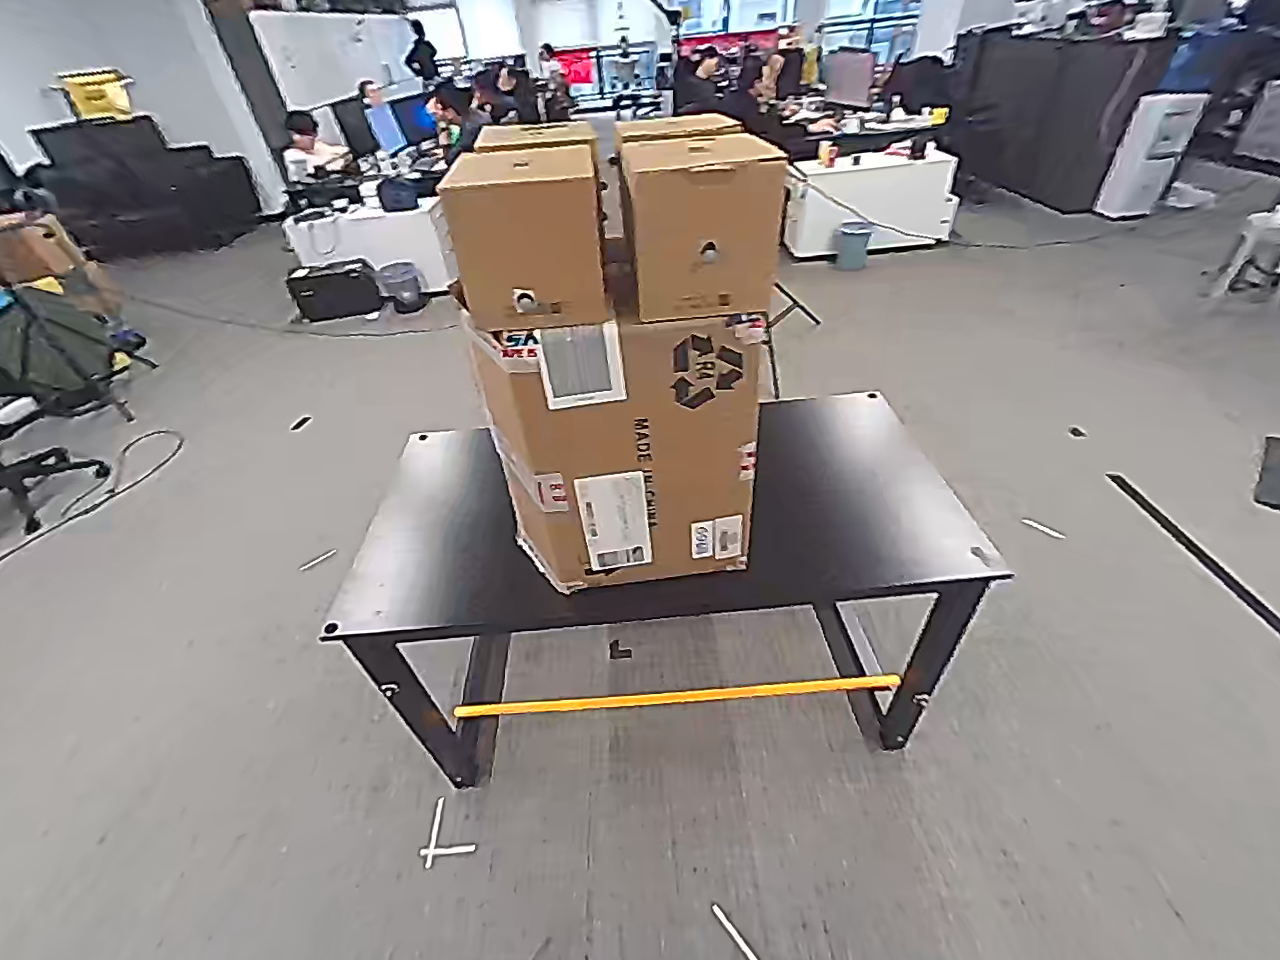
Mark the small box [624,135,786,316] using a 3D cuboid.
[{"bbox_3d":[0.072,-0.316,0.680,0.168,0.176,0.179,-5,41,-3],"label":"small box"}]
